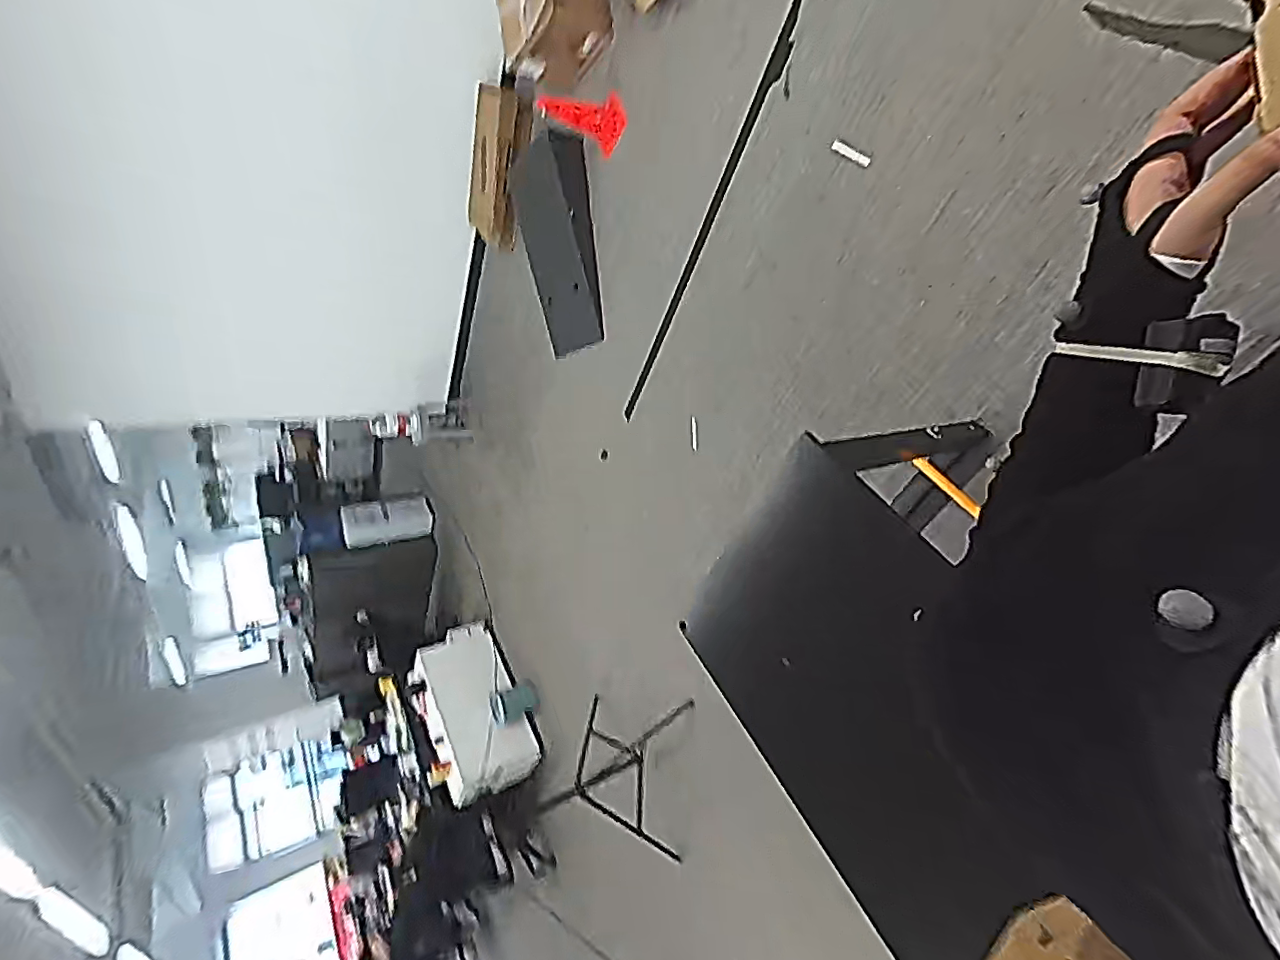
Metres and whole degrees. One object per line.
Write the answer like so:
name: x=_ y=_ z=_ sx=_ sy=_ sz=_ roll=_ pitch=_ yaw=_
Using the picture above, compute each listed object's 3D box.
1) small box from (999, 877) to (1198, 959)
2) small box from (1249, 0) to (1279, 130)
small box: x=0.546 y=0.609 z=0.625 sx=0.168 sy=0.176 sz=0.179 roll=50 pitch=133 yaw=35
small box: x=0.463 y=-0.299 z=0.282 sx=0.179 sy=0.176 sz=0.168 roll=-4 pitch=99 yaw=56
